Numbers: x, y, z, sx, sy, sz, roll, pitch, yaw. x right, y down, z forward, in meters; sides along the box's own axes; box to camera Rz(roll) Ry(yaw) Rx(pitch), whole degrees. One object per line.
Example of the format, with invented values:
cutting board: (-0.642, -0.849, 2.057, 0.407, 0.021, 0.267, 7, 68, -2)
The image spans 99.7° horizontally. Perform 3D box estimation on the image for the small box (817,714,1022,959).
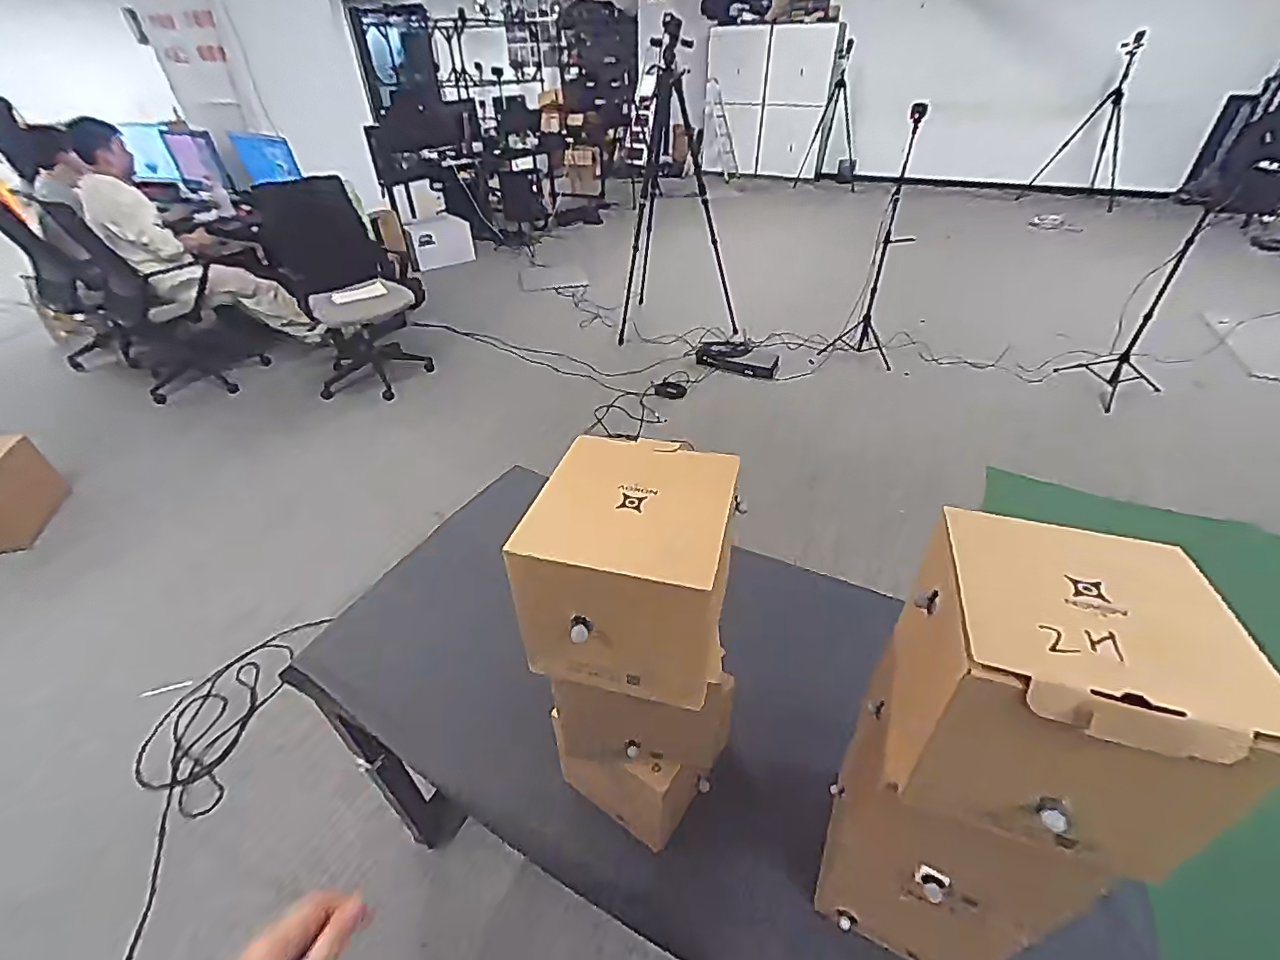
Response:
small box: (0.309, 0.405, 0.615, 0.168, 0.176, 0.179, 16, 38, 22)

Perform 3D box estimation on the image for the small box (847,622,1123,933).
small box: (0.305, 0.275, 0.517, 0.168, 0.176, 0.179, 12, 39, 19)

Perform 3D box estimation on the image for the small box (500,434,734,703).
small box: (-0.007, 0.080, 0.512, 0.168, 0.176, 0.179, 8, 38, 12)

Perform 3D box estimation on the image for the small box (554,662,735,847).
small box: (0.006, 0.332, 0.721, 0.168, 0.176, 0.179, 22, 42, 28)

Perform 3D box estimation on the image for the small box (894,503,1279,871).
small box: (0.301, 0.146, 0.414, 0.168, 0.176, 0.179, 10, 37, 17)
